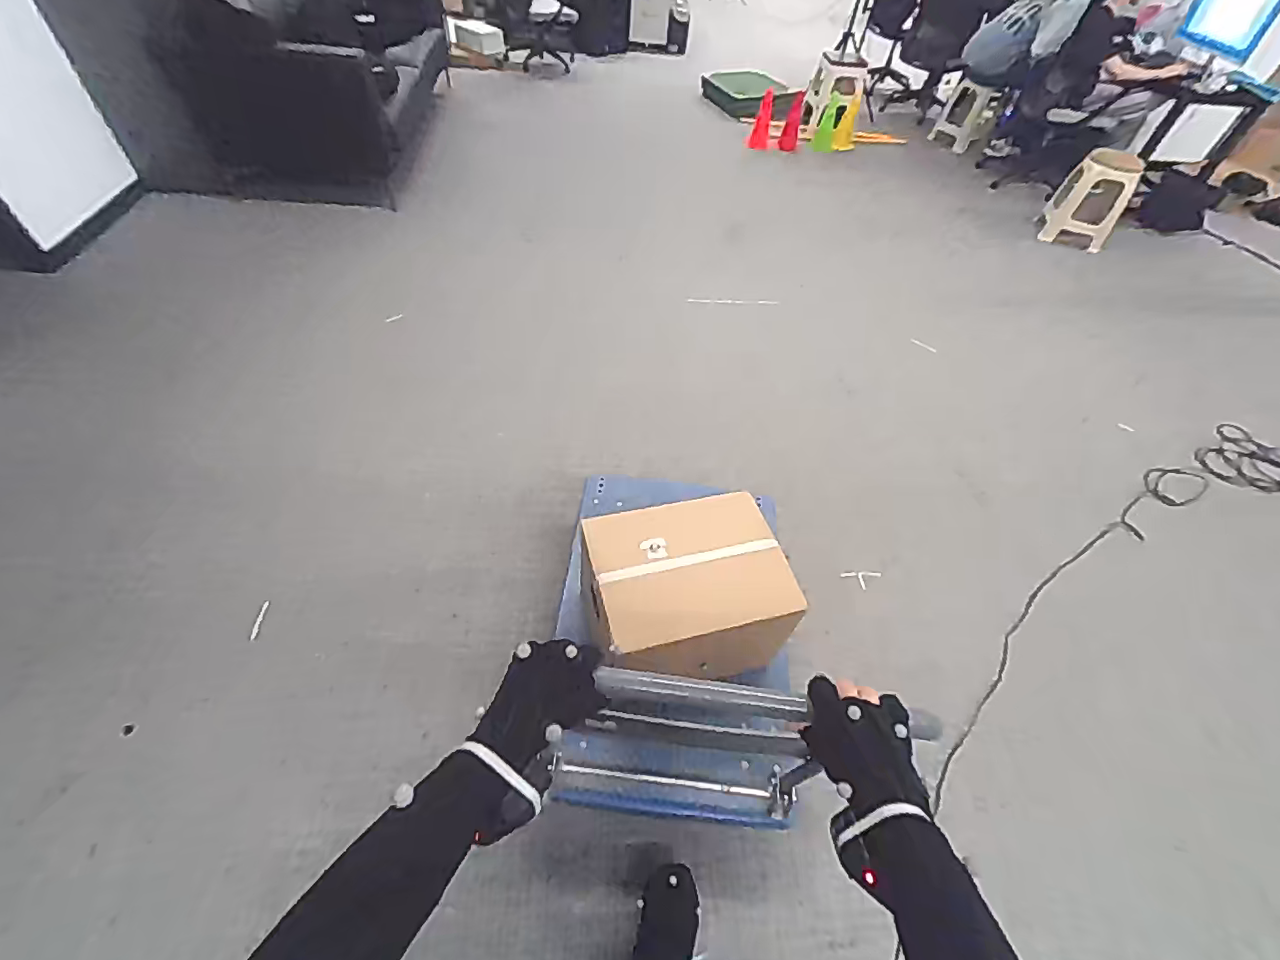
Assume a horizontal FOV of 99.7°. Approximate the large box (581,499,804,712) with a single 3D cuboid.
[{"bbox_3d":[0.094,0.289,1.247,0.408,0.320,0.320,-11,51,-13],"label":"large box"}]
